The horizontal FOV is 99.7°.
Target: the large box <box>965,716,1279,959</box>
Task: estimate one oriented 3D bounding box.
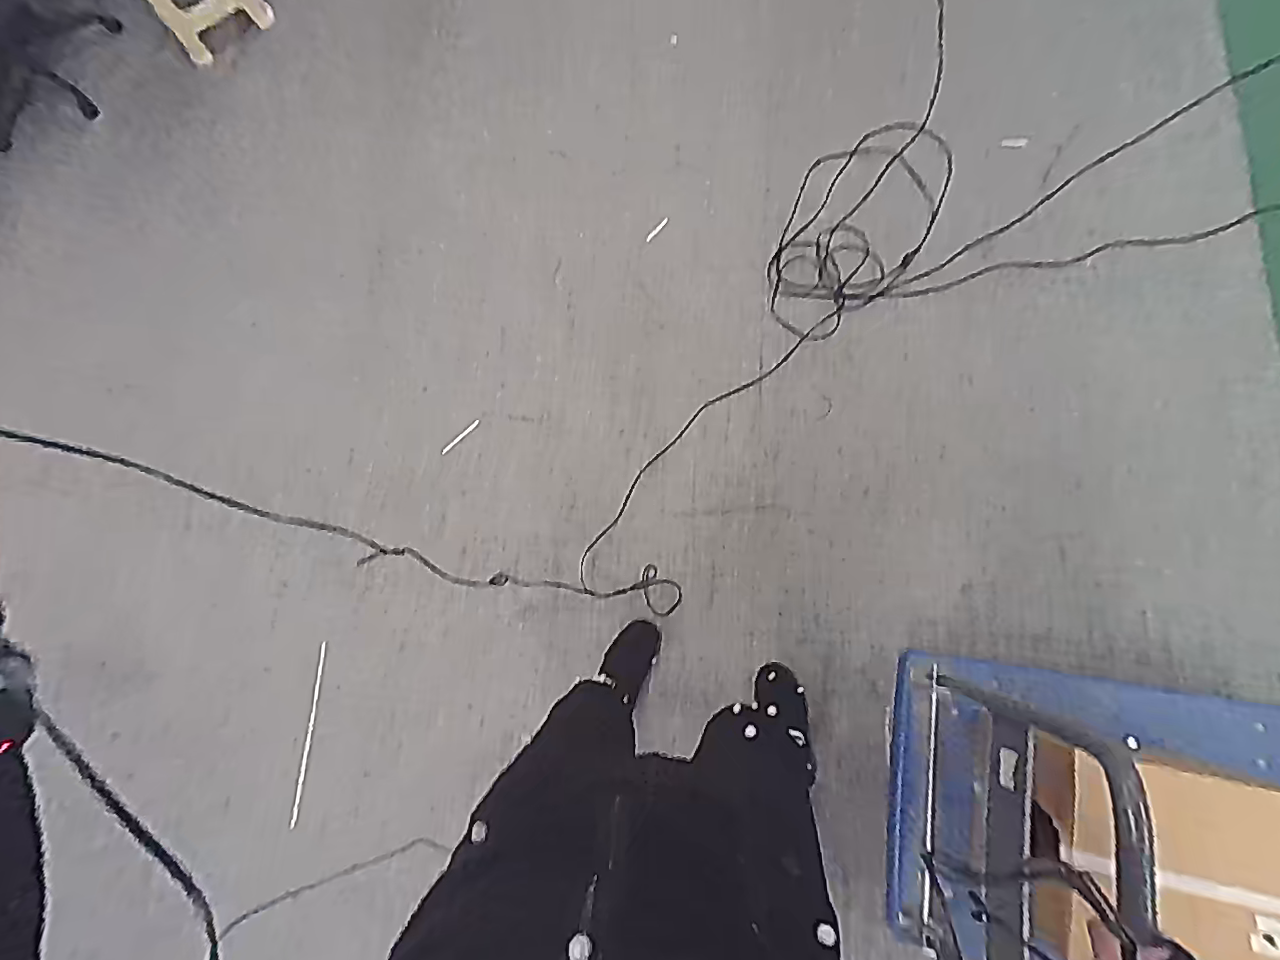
[{"bbox_3d":[0.862,0.644,0.962,0.408,0.320,0.320,10,79,8],"label":"large box"}]
